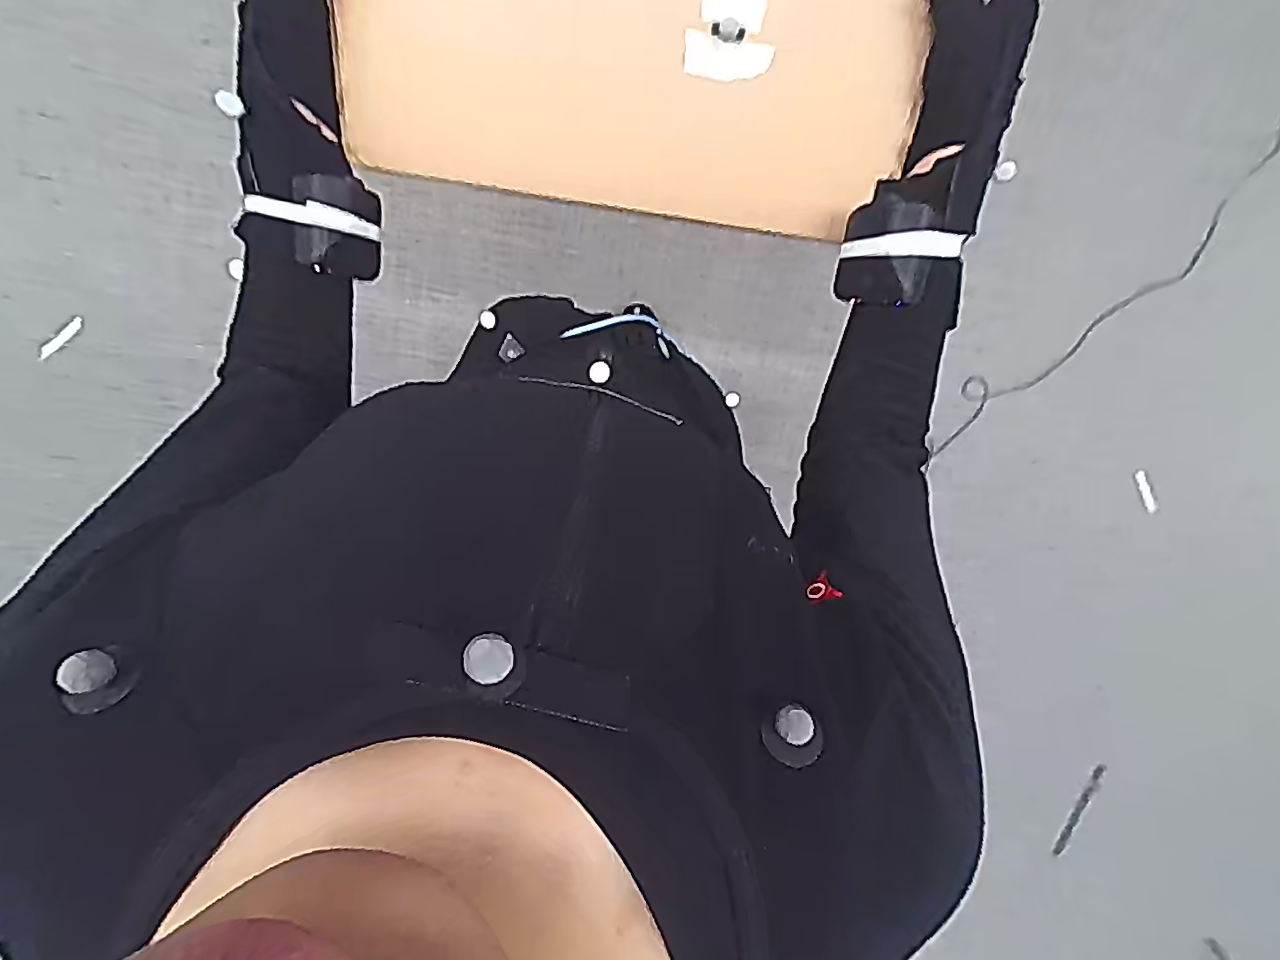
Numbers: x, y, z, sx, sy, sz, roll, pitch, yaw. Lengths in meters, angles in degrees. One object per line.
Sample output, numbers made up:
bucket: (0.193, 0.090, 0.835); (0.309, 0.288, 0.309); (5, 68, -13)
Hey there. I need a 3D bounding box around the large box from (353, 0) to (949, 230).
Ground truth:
large box: (0.015, -0.421, 0.477); (0.408, 0.320, 0.320); (9, 118, -1)
